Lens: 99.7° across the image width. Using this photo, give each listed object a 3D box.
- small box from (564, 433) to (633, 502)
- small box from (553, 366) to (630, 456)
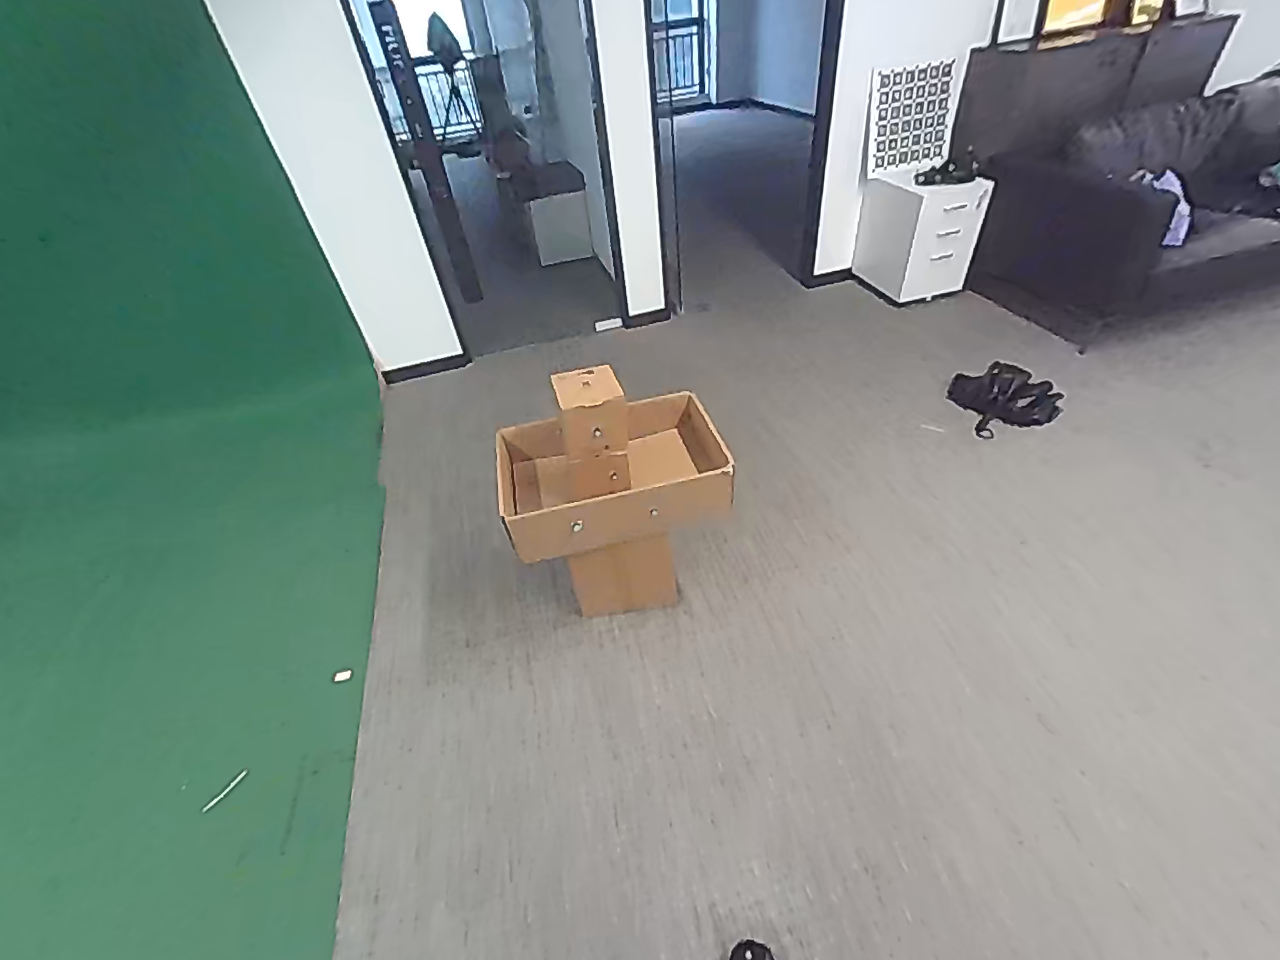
[{"bbox_3d":[-0.119,-0.052,1.558,0.168,0.176,0.179,-11,40,-8],"label":"small box"},{"bbox_3d":[-0.128,-0.181,1.457,0.168,0.176,0.179,-13,42,-10],"label":"small box"}]
